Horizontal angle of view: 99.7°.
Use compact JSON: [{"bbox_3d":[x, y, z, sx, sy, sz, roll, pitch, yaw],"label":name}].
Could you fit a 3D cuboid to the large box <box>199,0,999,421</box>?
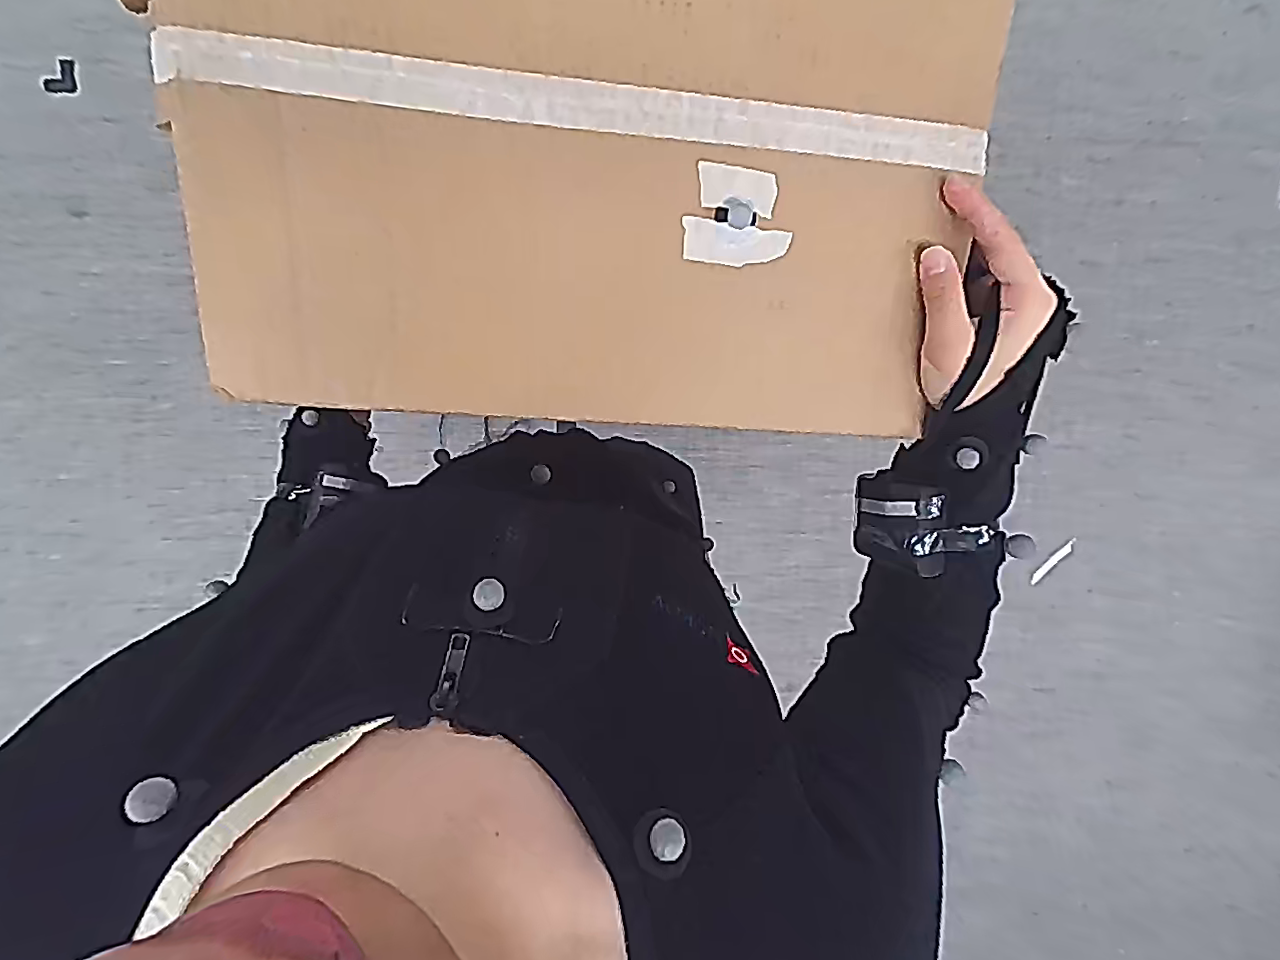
[{"bbox_3d":[-0.030,-0.225,0.425,0.408,0.320,0.320,2,105,-8],"label":"large box"}]
